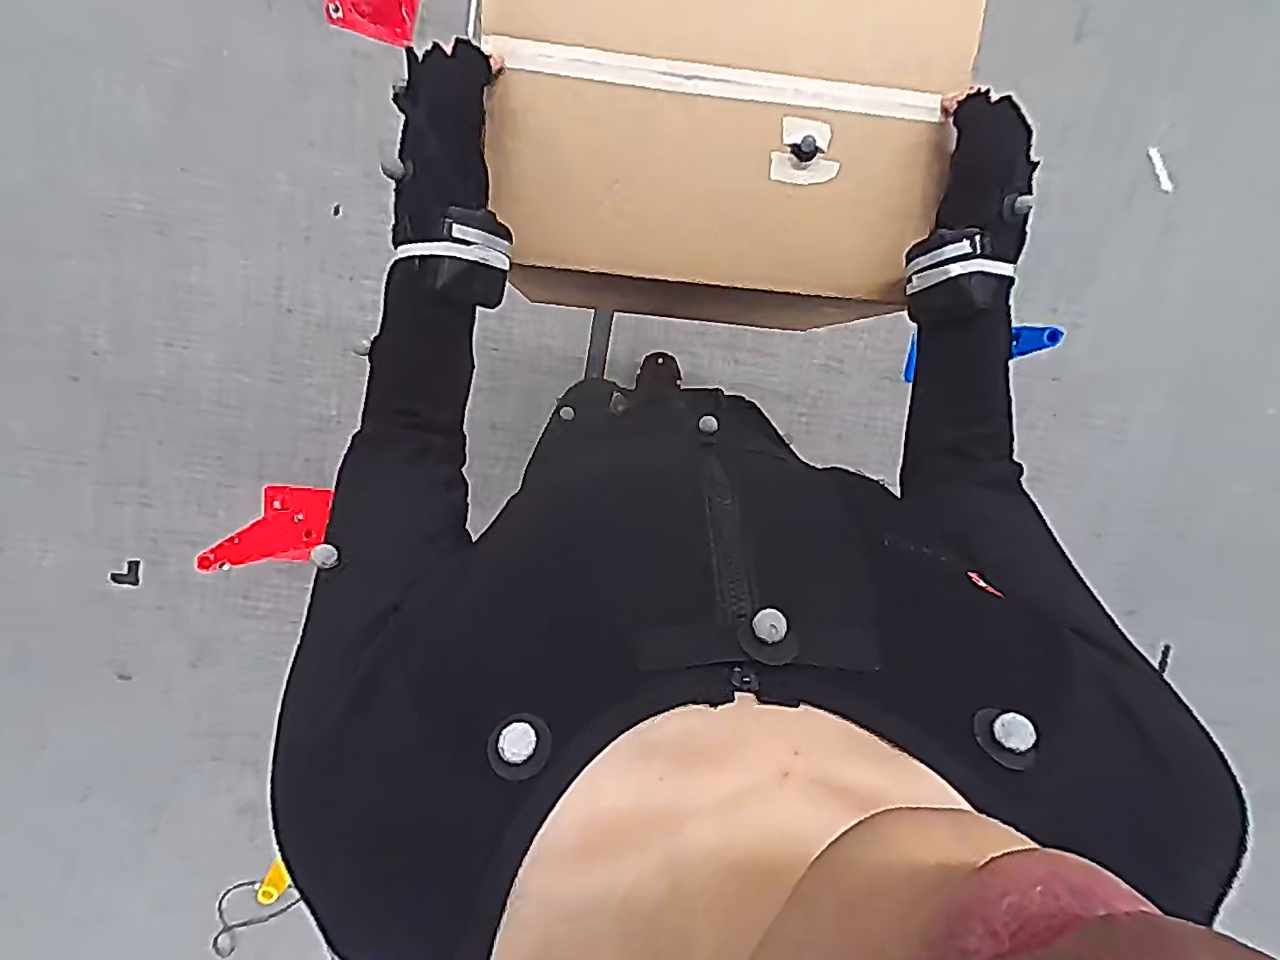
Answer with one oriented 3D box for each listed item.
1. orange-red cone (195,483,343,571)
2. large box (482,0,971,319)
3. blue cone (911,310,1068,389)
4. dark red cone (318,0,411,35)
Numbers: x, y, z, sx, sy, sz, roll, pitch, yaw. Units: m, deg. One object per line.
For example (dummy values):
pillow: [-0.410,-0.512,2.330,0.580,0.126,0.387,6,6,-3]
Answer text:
orange-red cone: [-0.877,0.140,1.252,0.198,0.360,0.199,6,99,-3]
large box: [0.060,-0.364,0.594,0.408,0.320,0.320,4,102,-5]
blue cone: [0.849,-0.330,1.305,0.192,0.380,0.193,11,97,-6]
dark red cone: [-0.604,-1.118,1.066,0.201,0.394,0.202,14,97,-6]
